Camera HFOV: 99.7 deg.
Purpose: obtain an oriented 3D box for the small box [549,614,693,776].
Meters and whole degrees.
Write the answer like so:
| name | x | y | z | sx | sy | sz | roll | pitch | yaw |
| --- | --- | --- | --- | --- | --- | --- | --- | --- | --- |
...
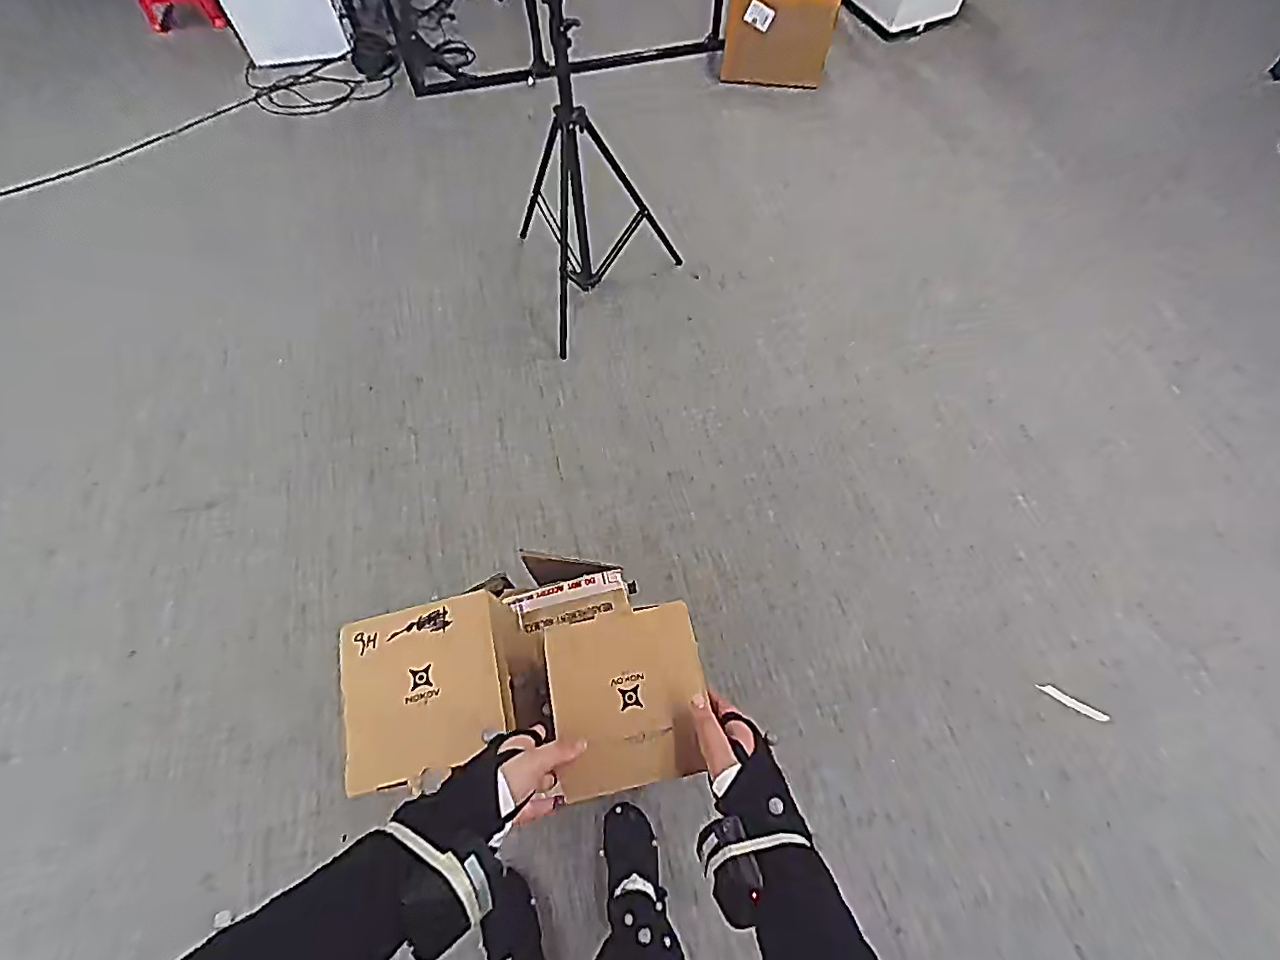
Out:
| name | x | y | z | sx | sy | sz | roll | pitch | yaw |
| --- | --- | --- | --- | --- | --- | --- | --- | --- | --- |
| small box | -0.032 | 0.318 | 0.798 | 0.168 | 0.176 | 0.179 | -13 | 66 | -7 |

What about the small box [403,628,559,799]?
| name | x | y | z | sx | sy | sz | roll | pitch | yaw |
| --- | --- | --- | --- | --- | --- | --- | --- | --- | --- |
| small box | -0.224 | 0.336 | 0.789 | 0.168 | 0.176 | 0.179 | -16 | 68 | -6 |
